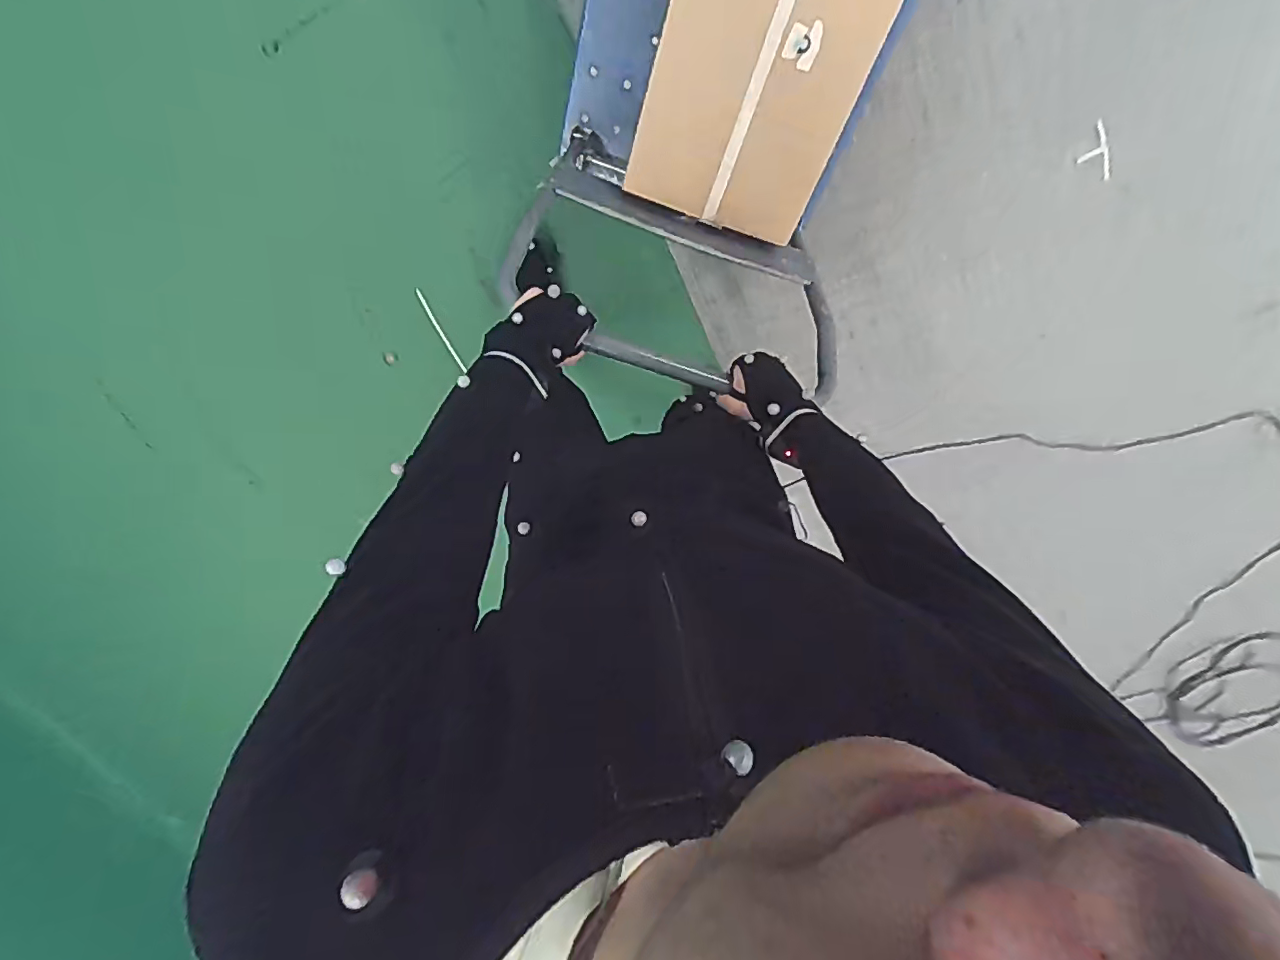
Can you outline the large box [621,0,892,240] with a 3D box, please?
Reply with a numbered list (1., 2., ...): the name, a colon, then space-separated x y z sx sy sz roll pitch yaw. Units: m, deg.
1. large box: 0.178 -0.706 0.945 0.320 0.320 0.408 16 129 -9
